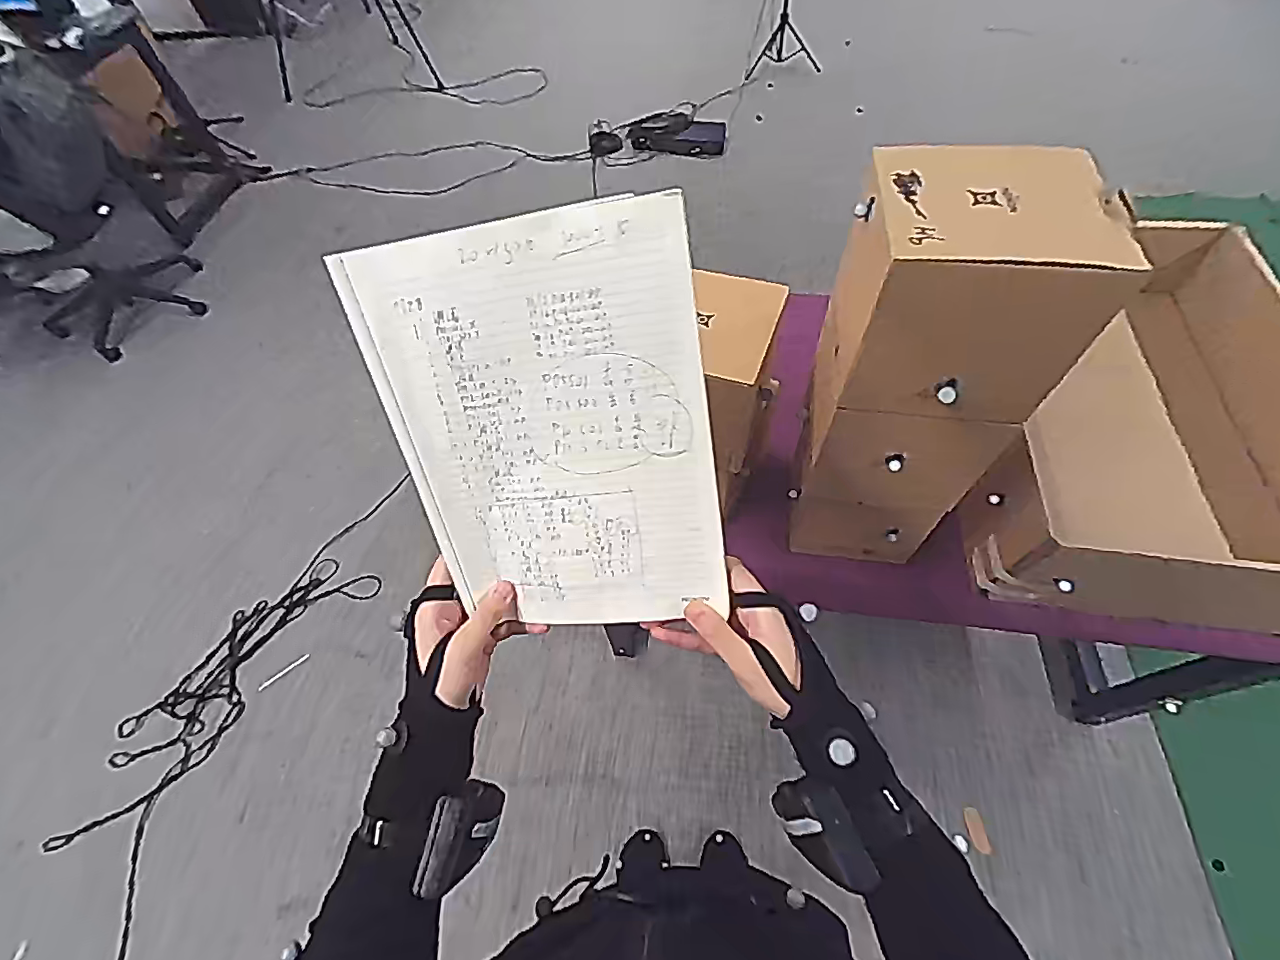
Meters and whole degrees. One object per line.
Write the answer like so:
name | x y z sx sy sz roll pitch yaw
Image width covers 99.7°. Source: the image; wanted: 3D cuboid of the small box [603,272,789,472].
small box | 0.073 -0.131 0.688 0.179 0.176 0.168 16 59 15

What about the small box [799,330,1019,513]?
small box | 0.293 -0.076 0.632 0.179 0.176 0.168 6 56 8

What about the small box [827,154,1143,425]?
small box | 0.283 -0.167 0.496 0.179 0.176 0.168 6 56 7
